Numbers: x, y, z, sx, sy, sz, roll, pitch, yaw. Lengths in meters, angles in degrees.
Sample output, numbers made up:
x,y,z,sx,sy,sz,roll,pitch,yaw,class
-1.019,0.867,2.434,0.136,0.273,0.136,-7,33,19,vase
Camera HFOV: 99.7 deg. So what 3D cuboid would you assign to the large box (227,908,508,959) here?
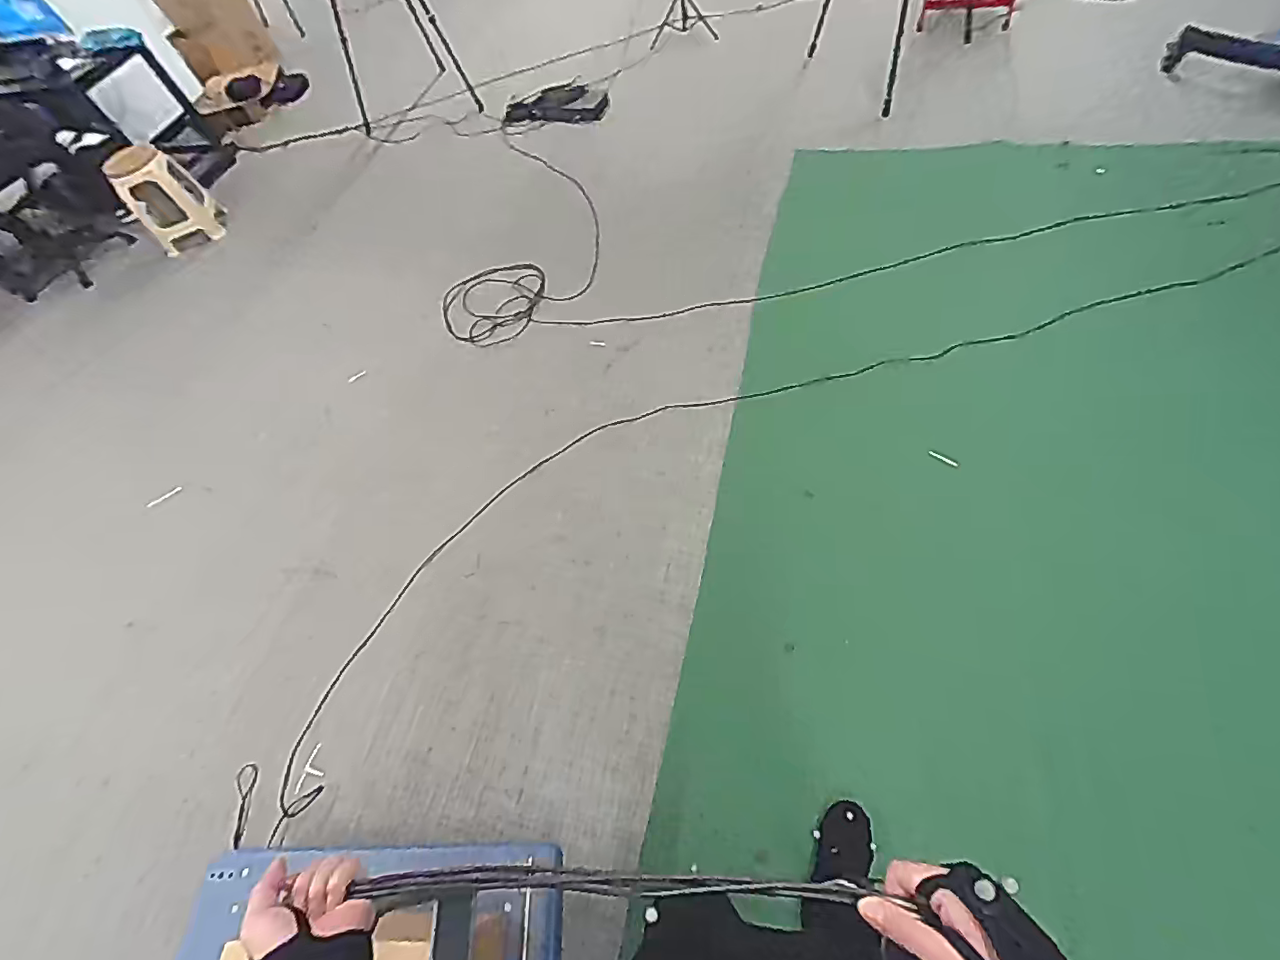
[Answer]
x,y,z,sx,sy,sz,roll,pitch,yaw,class
-0.489,0.992,0.970,0.408,0.320,0.320,-7,57,8,large box
